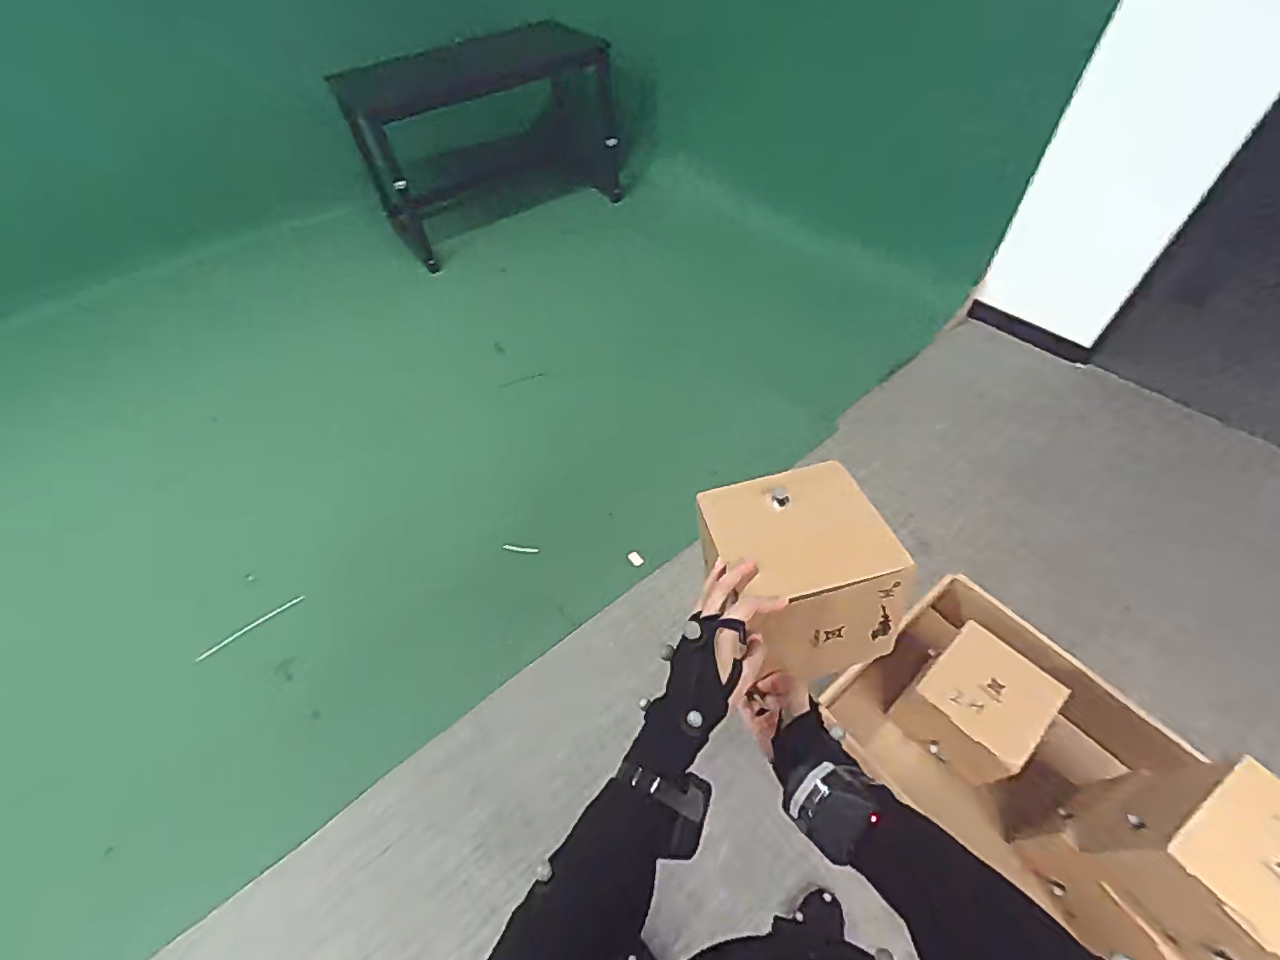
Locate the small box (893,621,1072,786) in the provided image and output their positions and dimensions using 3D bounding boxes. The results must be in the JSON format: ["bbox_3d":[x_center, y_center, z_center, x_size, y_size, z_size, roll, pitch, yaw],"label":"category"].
[{"bbox_3d":[0.564,0.380,0.915,0.179,0.176,0.168,-36,58,-21],"label":"small box"}]

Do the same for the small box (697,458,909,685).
[{"bbox_3d":[0.167,0.100,0.615,0.179,0.168,0.176,-14,43,-1],"label":"small box"}]

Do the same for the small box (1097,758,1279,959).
[{"bbox_3d":[0.699,0.467,0.636,0.179,0.176,0.168,-28,57,-16],"label":"small box"}]
